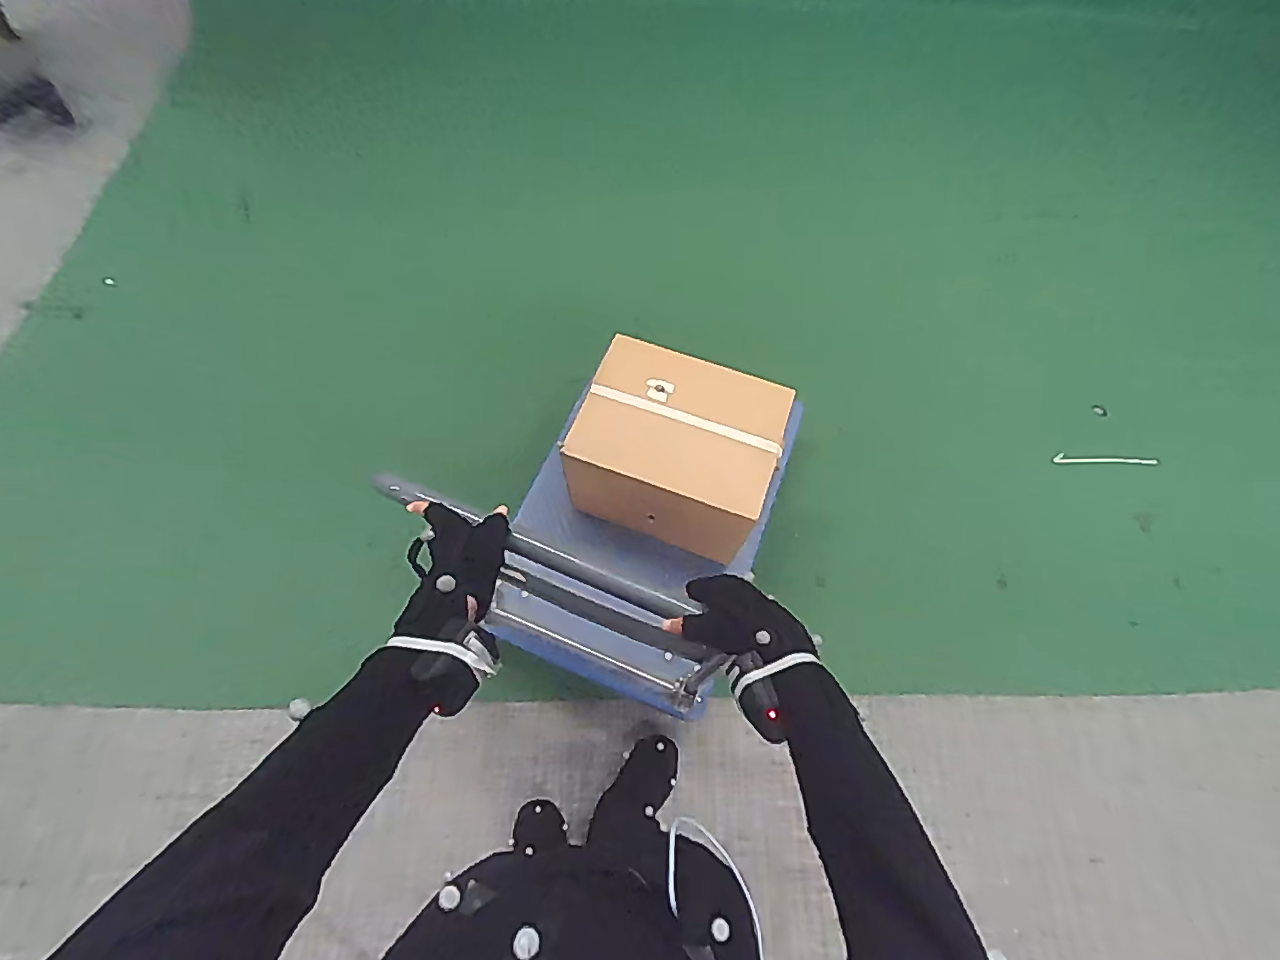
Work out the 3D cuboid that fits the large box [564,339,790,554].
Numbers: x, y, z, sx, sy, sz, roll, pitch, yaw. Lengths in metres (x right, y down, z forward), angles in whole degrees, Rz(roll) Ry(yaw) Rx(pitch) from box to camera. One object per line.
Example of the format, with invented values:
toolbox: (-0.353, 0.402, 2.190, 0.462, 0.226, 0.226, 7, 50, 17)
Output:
large box: (0.083, -0.063, 1.240, 0.408, 0.320, 0.320, 18, 66, 7)
